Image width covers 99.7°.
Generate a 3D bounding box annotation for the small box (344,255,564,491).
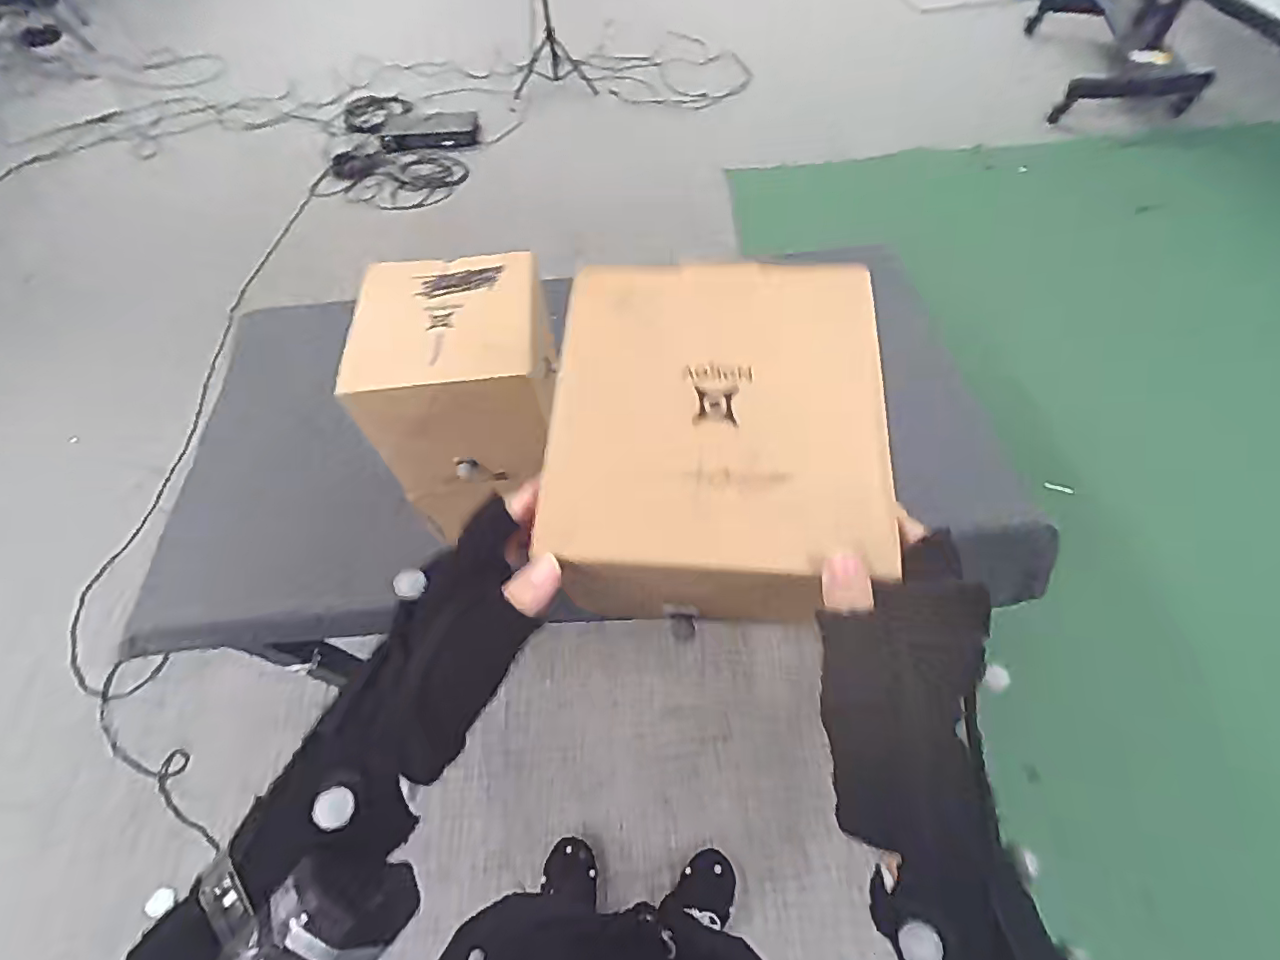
[{"bbox_3d":[-0.174,-0.108,0.569,0.168,0.176,0.179,-5,57,-1],"label":"small box"}]
